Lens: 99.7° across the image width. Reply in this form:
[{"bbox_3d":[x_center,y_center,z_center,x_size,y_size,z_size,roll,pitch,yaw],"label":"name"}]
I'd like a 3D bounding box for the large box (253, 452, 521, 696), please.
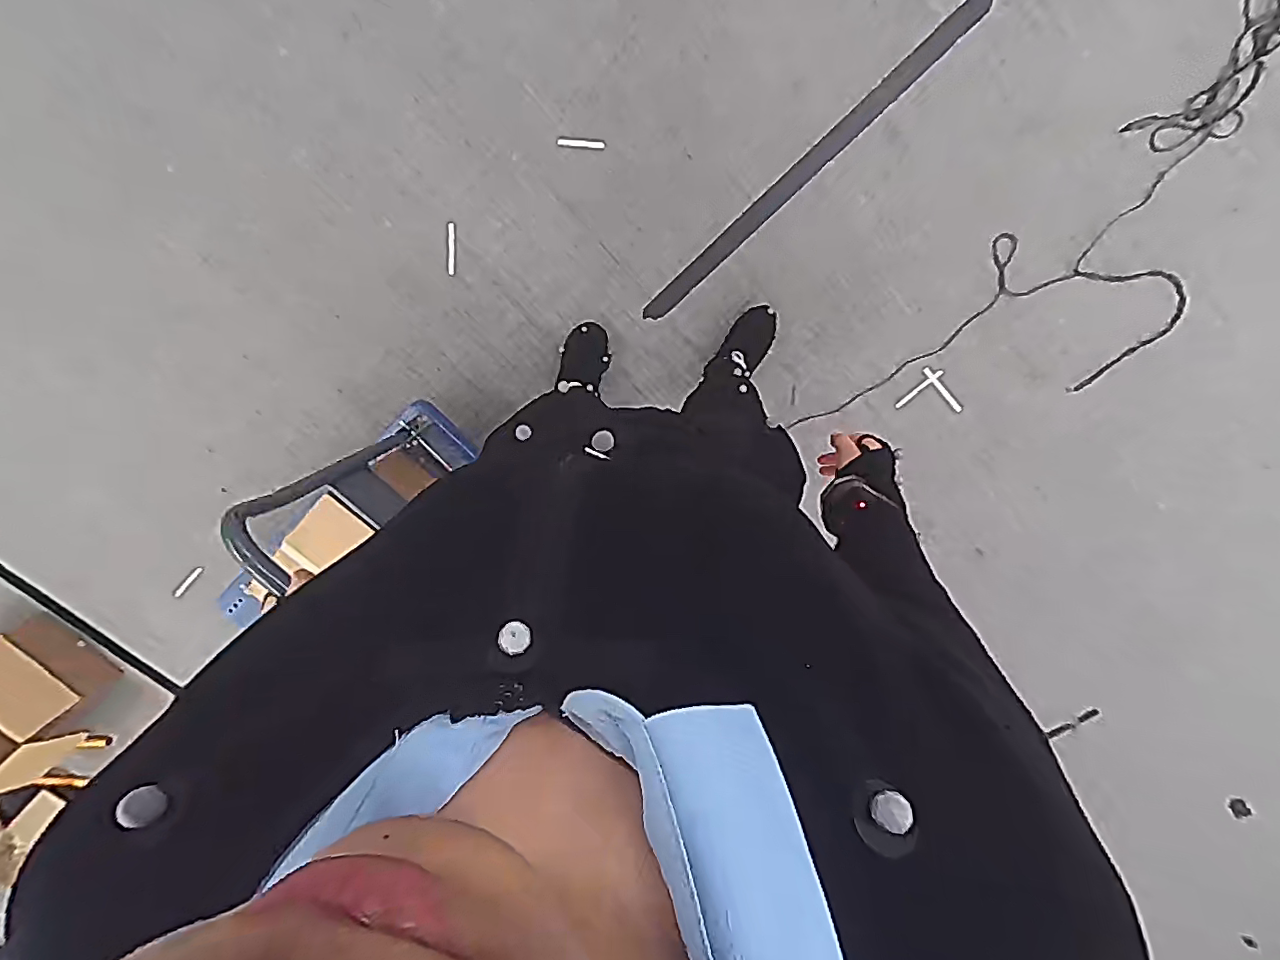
[{"bbox_3d":[-0.557,0.206,1.267,0.408,0.320,0.320,43,105,-11],"label":"large box"}]
